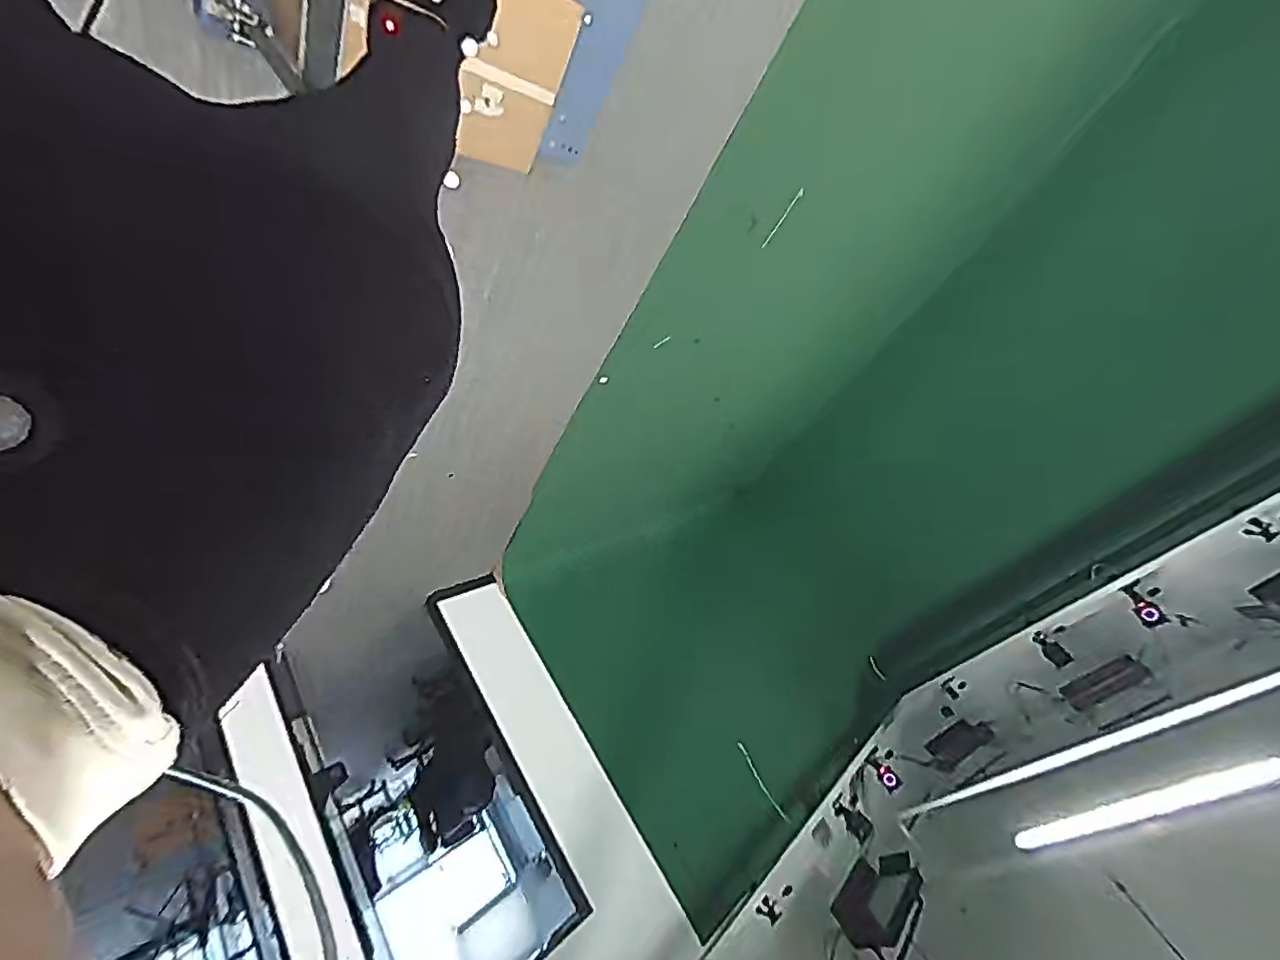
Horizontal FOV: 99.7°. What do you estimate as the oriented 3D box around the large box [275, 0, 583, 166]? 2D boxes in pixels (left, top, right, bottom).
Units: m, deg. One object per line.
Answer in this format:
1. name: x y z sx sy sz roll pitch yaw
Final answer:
1. large box: -0.393 -0.853 0.994 0.408 0.320 0.320 -14 149 -46
